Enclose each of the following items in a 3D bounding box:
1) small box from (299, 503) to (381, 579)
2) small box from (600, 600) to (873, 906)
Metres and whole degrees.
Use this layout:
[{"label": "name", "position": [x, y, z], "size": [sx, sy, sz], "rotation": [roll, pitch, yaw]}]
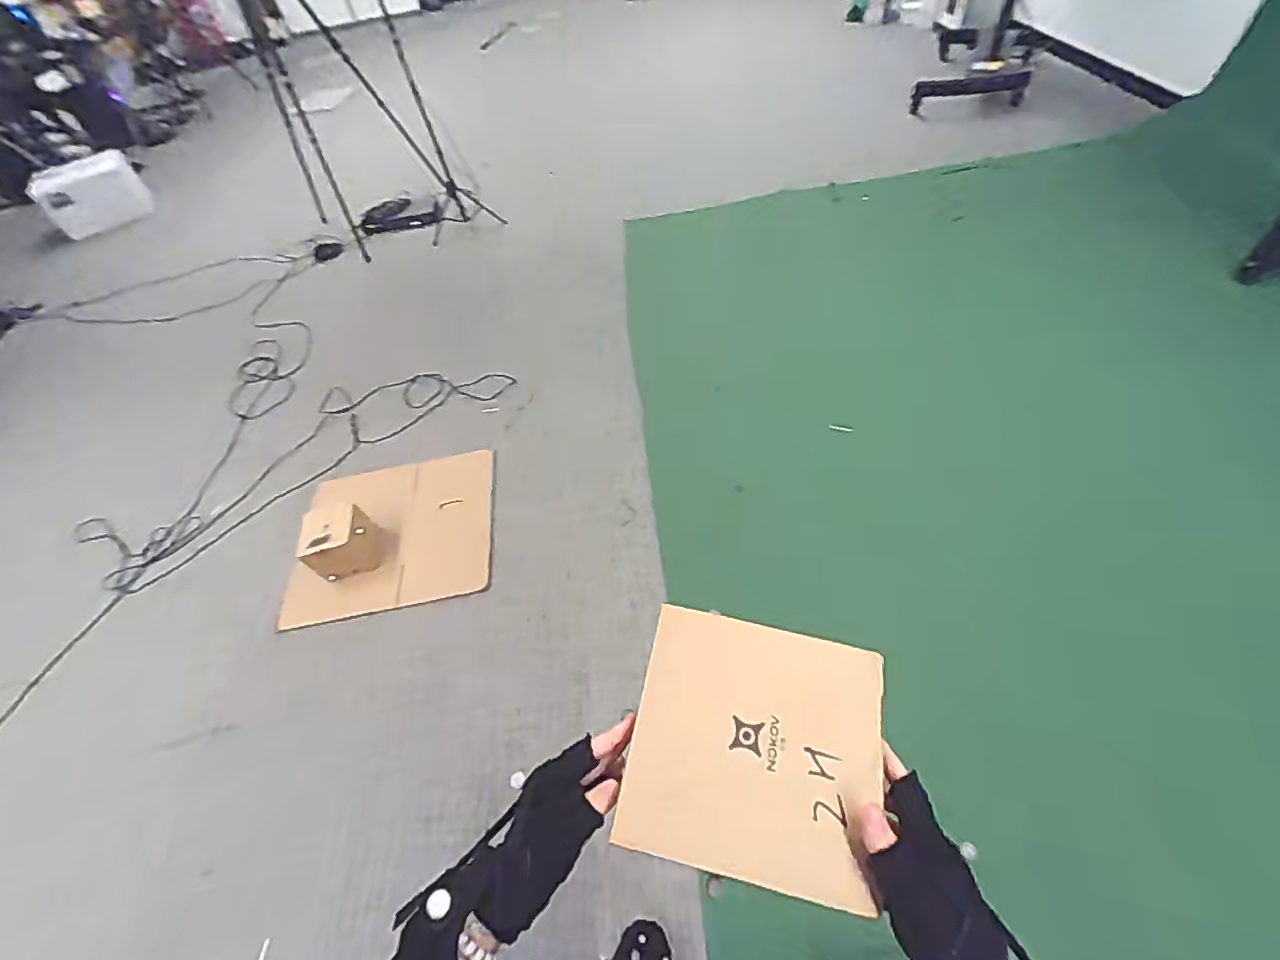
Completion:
[{"label": "small box", "position": [-0.981, 0.210, 1.784], "size": [0.168, 0.176, 0.179], "rotation": [-16, 51, -1]}, {"label": "small box", "position": [0.075, 0.221, 0.449], "size": [0.179, 0.176, 0.168], "rotation": [11, 59, 6]}]
